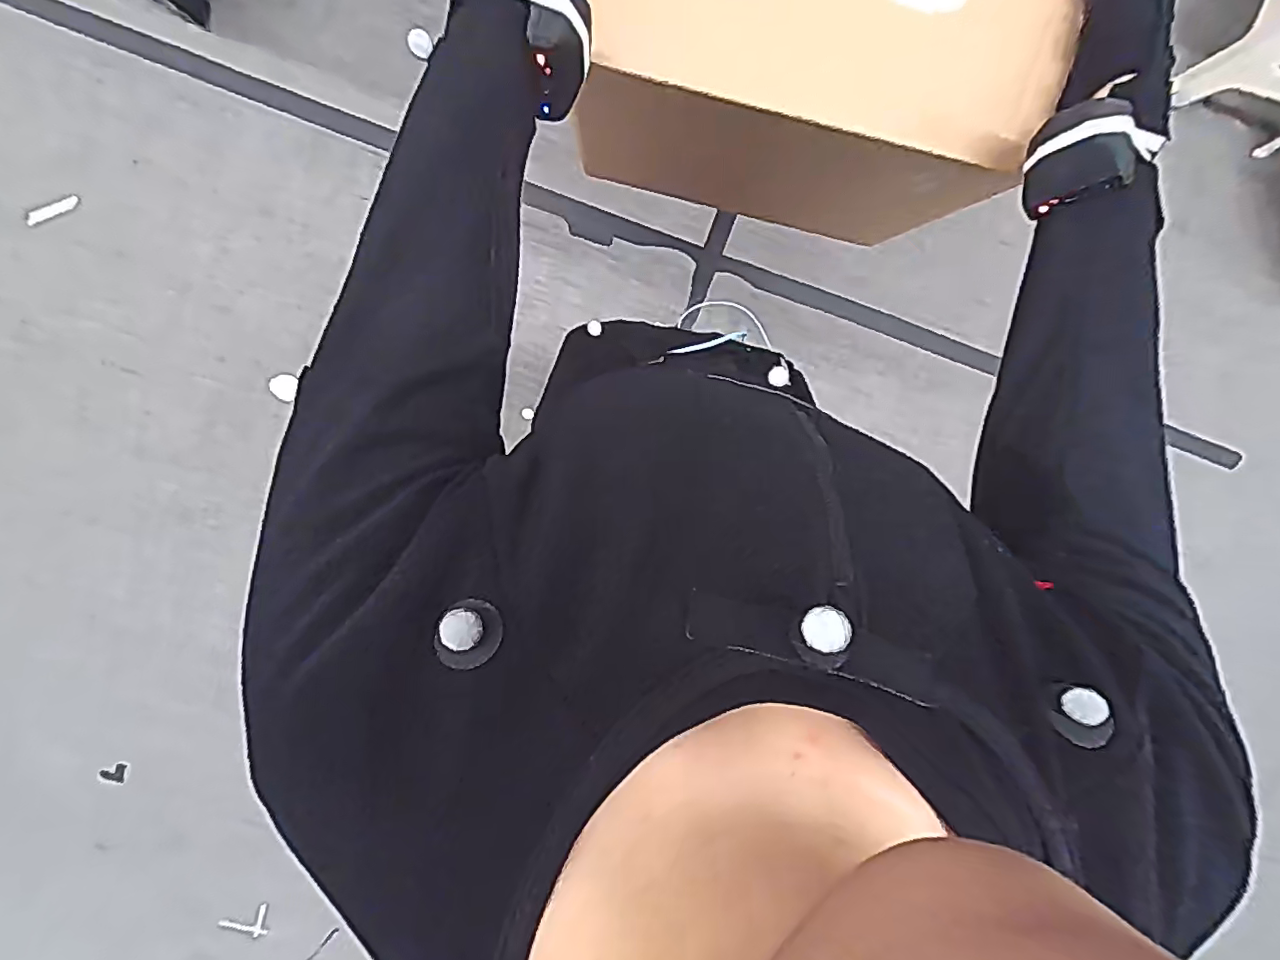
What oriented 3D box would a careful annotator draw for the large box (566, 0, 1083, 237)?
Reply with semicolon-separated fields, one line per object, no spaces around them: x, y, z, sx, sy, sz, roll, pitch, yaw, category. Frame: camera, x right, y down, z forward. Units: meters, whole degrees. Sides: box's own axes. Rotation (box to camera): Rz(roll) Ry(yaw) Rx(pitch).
0.156;-0.479;0.551;0.408;0.320;0.320;12;104;-5;large box
